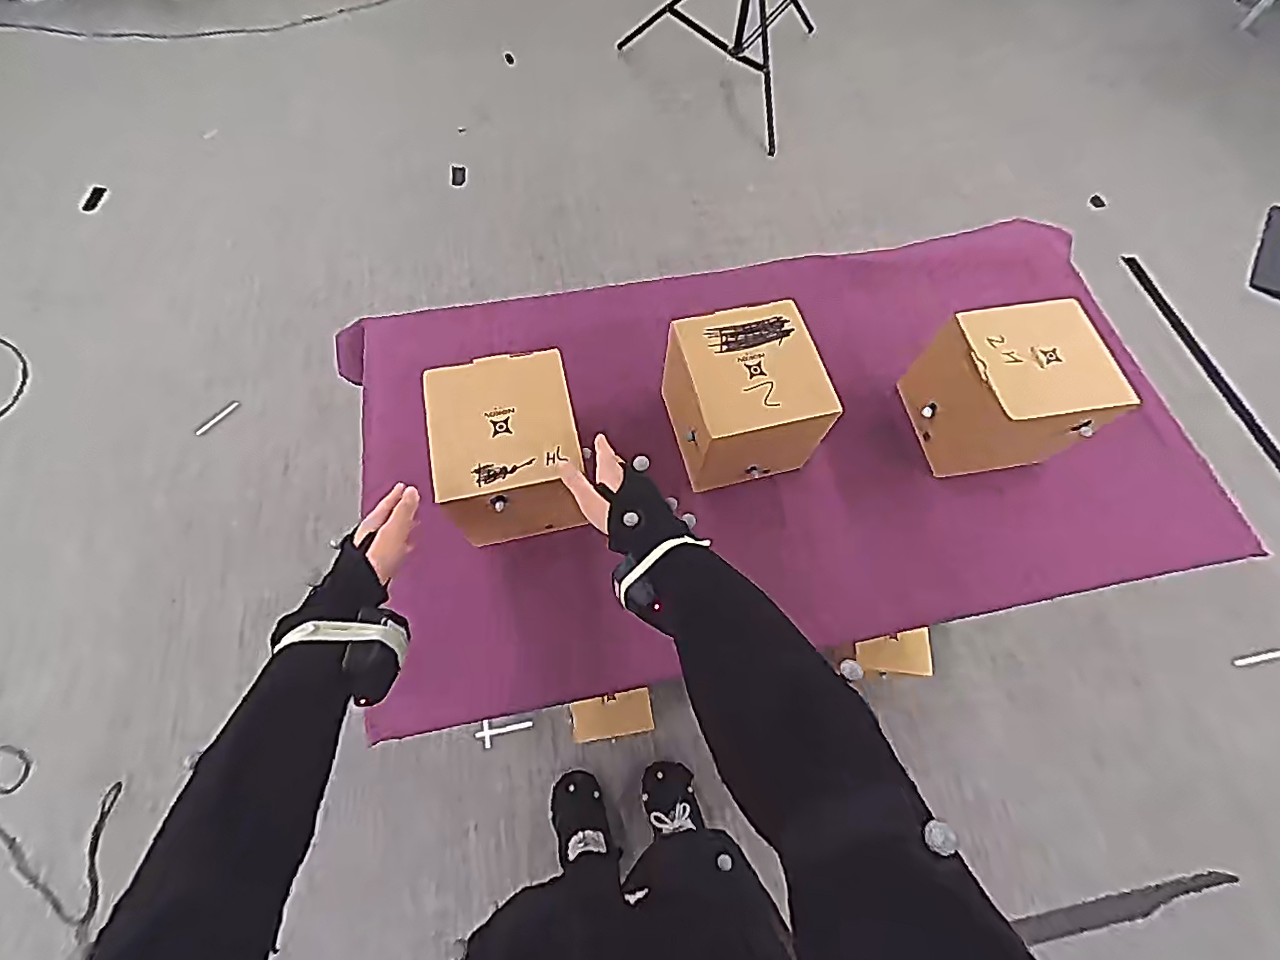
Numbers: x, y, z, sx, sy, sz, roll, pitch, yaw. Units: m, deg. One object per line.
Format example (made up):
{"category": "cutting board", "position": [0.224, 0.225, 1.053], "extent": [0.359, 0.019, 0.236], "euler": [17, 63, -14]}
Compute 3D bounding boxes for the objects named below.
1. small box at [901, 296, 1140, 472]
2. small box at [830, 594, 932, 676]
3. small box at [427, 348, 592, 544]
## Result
{"category": "small box", "position": [0.502, -0.125, 0.745], "extent": [0.179, 0.176, 0.168], "euler": [-9, 66, -5]}
{"category": "small box", "position": [0.581, 0.384, 1.323], "extent": [0.179, 0.176, 0.168], "euler": [5, 67, 2]}
{"category": "small box", "position": [-0.159, -0.037, 0.690], "extent": [0.168, 0.176, 0.179], "euler": [-12, 67, -7]}
